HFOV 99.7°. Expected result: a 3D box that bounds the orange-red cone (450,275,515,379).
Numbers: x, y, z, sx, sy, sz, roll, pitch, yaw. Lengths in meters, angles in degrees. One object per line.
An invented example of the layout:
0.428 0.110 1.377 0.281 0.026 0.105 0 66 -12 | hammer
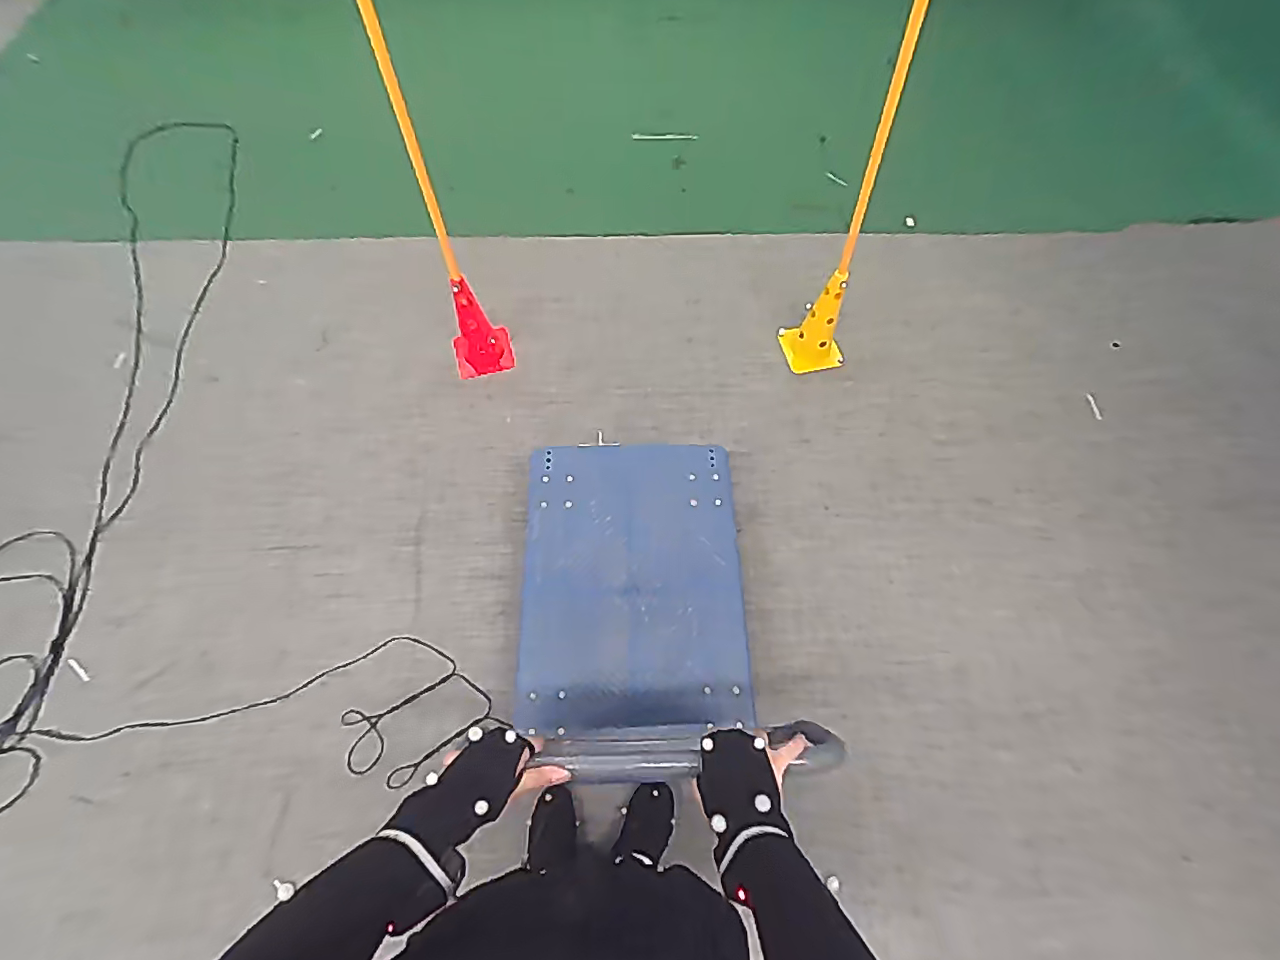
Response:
-0.562 -0.531 1.798 0.199 0.360 0.198 -15 64 -6 | orange-red cone
